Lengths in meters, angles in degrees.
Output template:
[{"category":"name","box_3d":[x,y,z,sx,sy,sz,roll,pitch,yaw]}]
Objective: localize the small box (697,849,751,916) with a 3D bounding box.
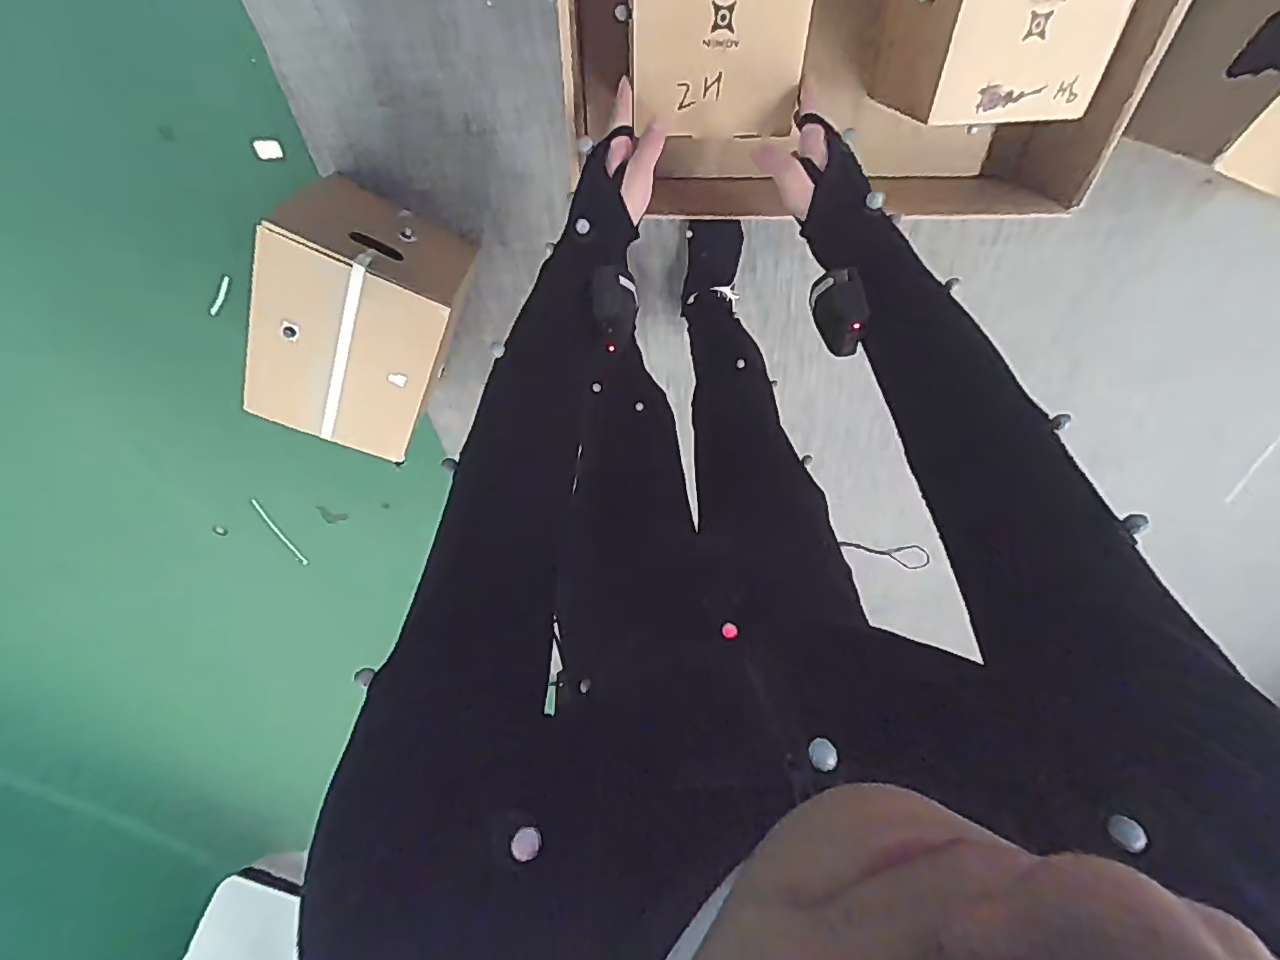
[{"category":"small box","box_3d":[0.295,1.431,1.923,0.168,0.176,0.179,-6,133,3]}]

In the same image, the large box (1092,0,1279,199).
[{"category":"large box","box_3d":[1.129,-0.679,0.913,0.408,0.320,0.320,11,131,-12]}]
